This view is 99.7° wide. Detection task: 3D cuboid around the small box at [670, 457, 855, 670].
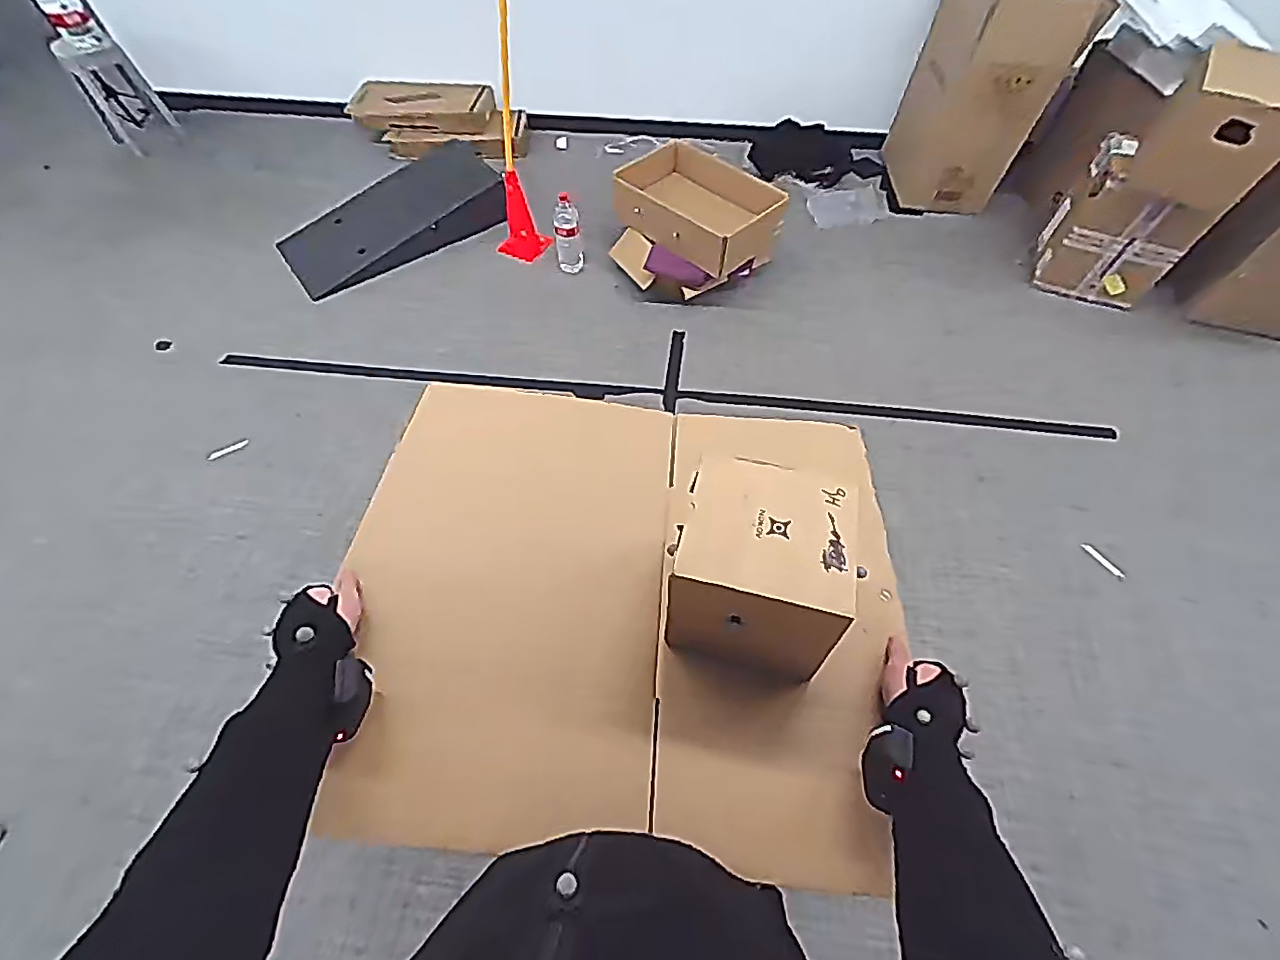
[{"bbox_3d":[0.135,0.100,0.625,0.179,0.176,0.168,11,53,10],"label":"small box"}]
